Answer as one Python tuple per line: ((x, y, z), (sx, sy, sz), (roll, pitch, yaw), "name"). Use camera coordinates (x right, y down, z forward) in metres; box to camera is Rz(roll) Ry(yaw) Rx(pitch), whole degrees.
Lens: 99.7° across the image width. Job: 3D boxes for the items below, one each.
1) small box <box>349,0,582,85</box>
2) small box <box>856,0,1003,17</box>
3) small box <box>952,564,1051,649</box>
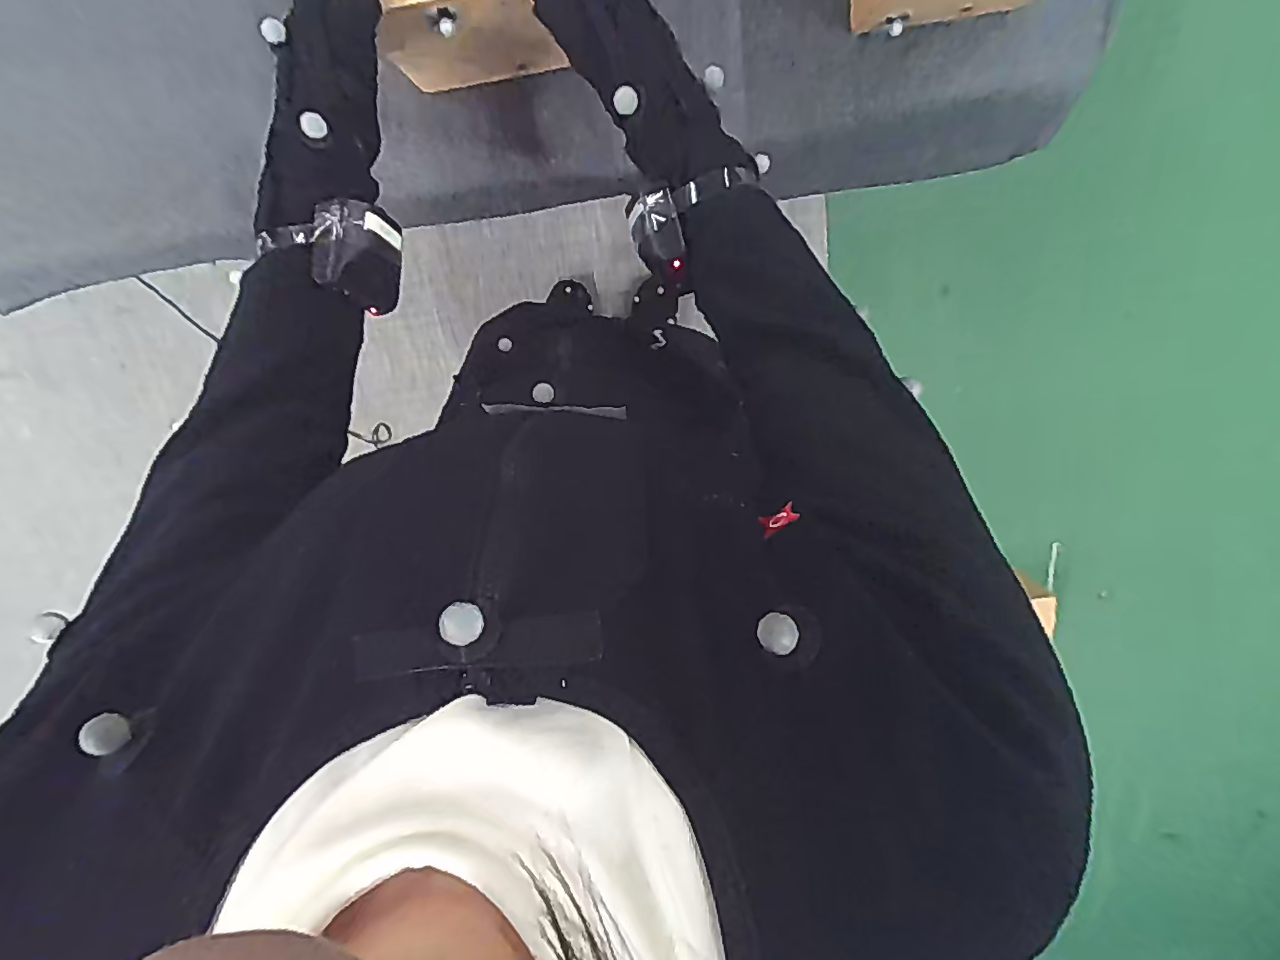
((-0.146, -0.459, 0.437), (0.168, 0.176, 0.179), (-9, 111, 2), "small box")
((0.277, -0.510, 0.430), (0.168, 0.176, 0.179), (-8, 110, 2), "small box")
((1.051, 0.363, 1.582), (0.179, 0.176, 0.168), (-10, 110, 3), "small box")
